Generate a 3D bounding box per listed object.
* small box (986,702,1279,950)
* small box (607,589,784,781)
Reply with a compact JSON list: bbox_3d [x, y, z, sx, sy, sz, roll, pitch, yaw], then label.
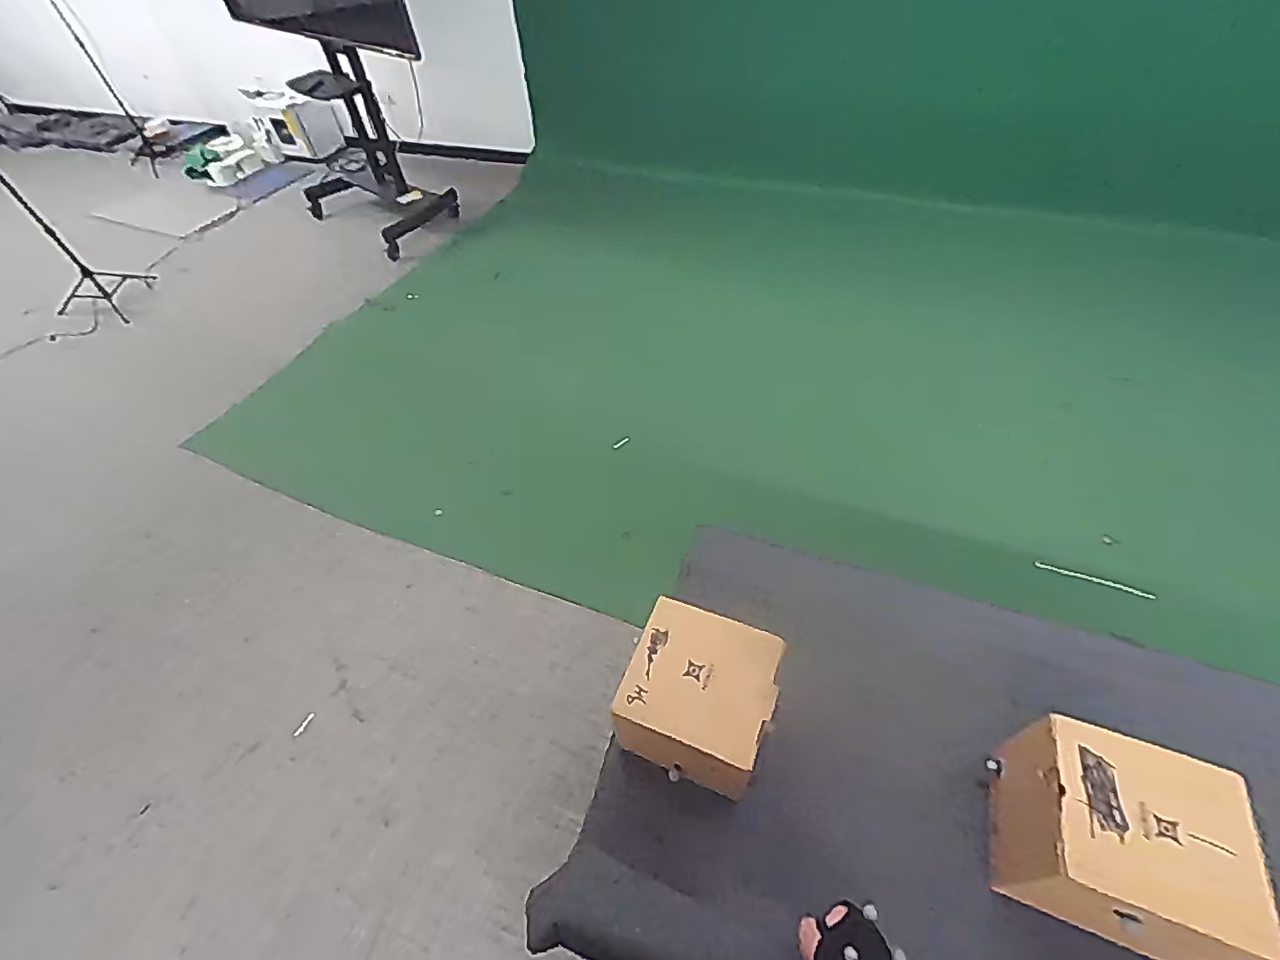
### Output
[{"bbox_3d":[0.514,0.381,0.602,0.179,0.176,0.168,16,55,16],"label":"small box"},{"bbox_3d":[0.074,0.278,0.722,0.179,0.176,0.168,17,54,16],"label":"small box"}]
